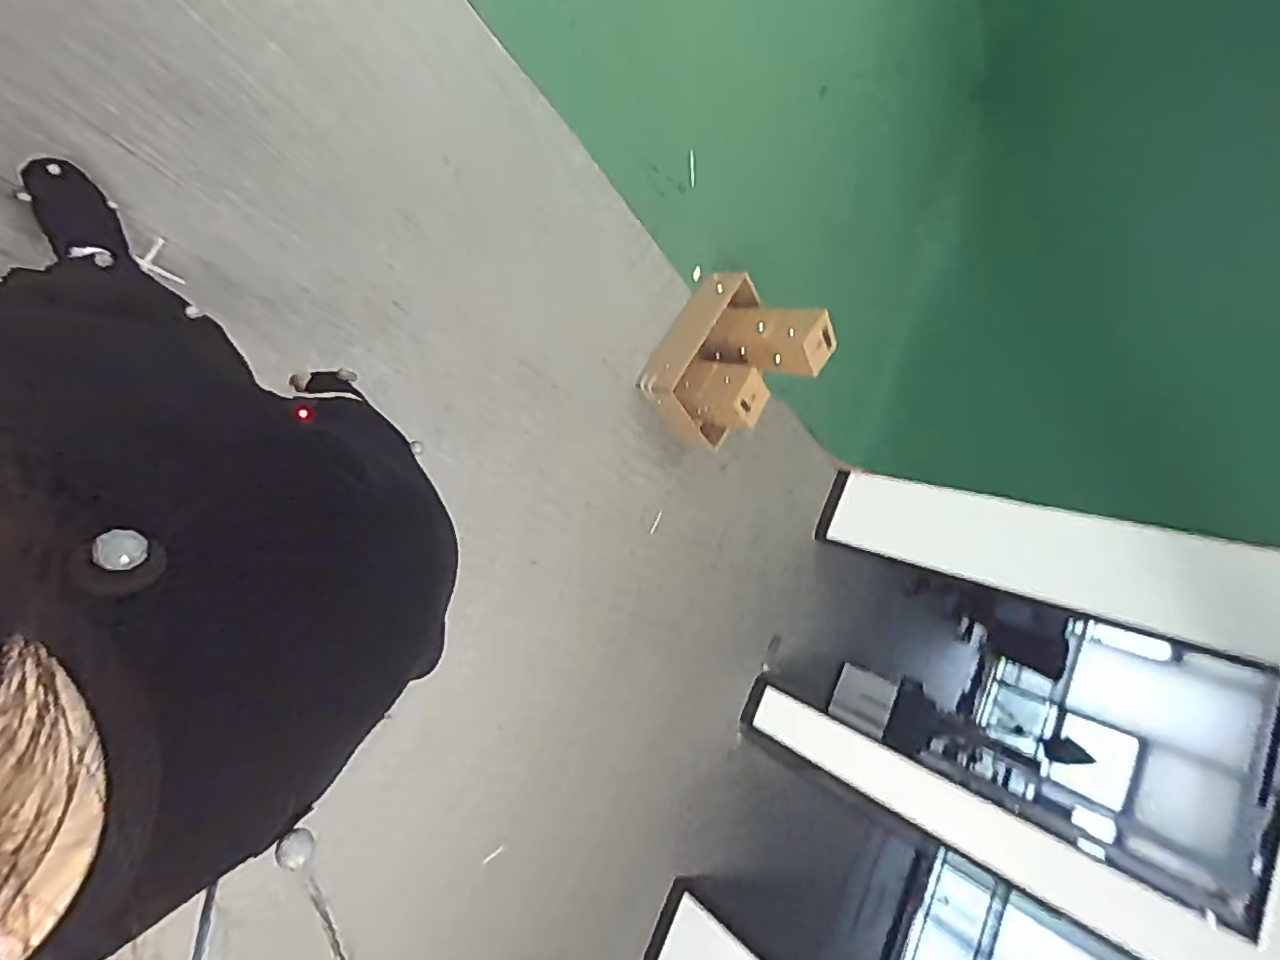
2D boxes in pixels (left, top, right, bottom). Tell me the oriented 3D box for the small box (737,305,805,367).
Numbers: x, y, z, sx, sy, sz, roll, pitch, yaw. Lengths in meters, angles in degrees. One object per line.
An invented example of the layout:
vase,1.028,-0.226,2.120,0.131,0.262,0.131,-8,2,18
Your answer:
small box,0.504,-0.558,2.076,0.179,0.176,0.168,-48,131,-19

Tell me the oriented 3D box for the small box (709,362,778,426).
small box,0.382,-0.325,2.023,0.168,0.176,0.179,43,70,-42
